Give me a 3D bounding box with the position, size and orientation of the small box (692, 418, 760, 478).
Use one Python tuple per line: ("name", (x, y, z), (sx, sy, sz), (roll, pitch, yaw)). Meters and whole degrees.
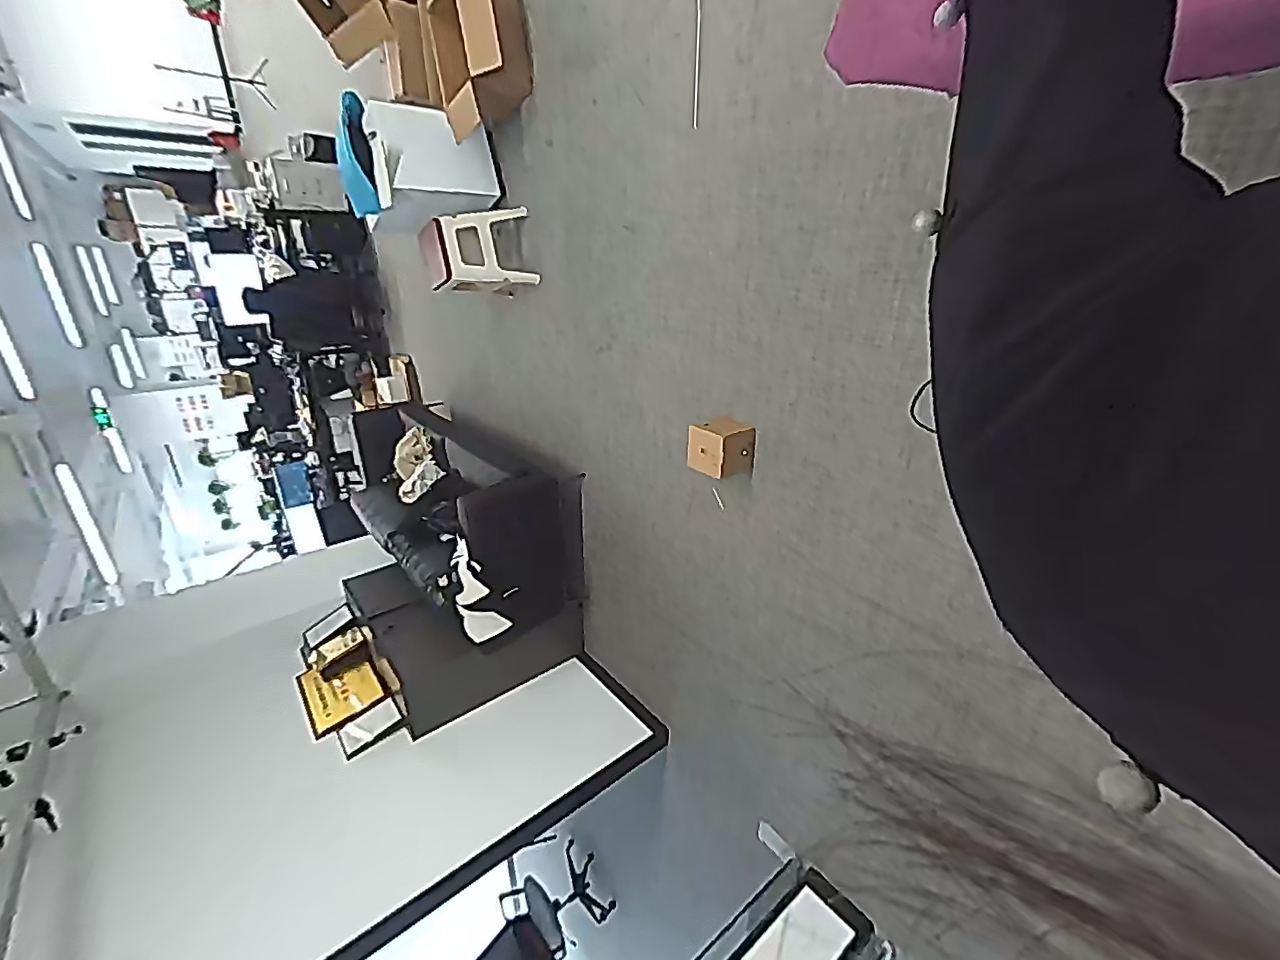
("small box", (0.315, -0.124, 1.994), (0.179, 0.176, 0.168), (26, 125, 45))
